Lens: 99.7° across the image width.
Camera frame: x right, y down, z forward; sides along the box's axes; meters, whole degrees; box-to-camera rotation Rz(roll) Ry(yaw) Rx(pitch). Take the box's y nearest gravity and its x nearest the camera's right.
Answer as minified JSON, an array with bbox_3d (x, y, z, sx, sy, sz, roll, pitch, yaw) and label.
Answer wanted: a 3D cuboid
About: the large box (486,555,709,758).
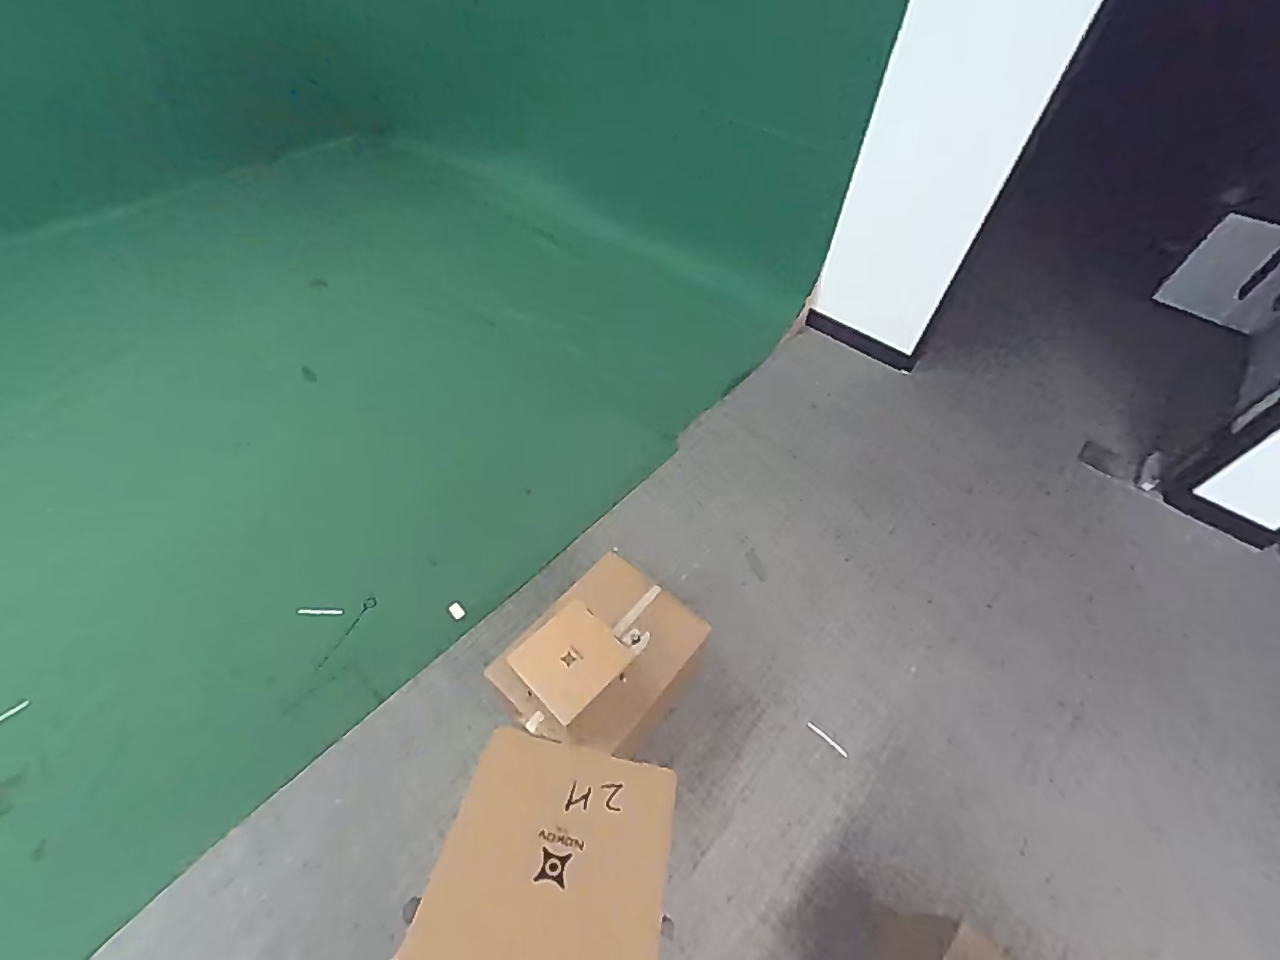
[{"bbox_3d":[-0.089,0.469,1.284,0.320,0.320,0.408,35,58,23],"label":"large box"}]

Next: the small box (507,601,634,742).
[{"bbox_3d":[-0.127,0.377,1.043,0.168,0.176,0.179,39,59,23],"label":"small box"}]

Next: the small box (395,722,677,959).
[{"bbox_3d":[-0.075,0.345,0.448,0.168,0.176,0.179,14,33,3],"label":"small box"}]
